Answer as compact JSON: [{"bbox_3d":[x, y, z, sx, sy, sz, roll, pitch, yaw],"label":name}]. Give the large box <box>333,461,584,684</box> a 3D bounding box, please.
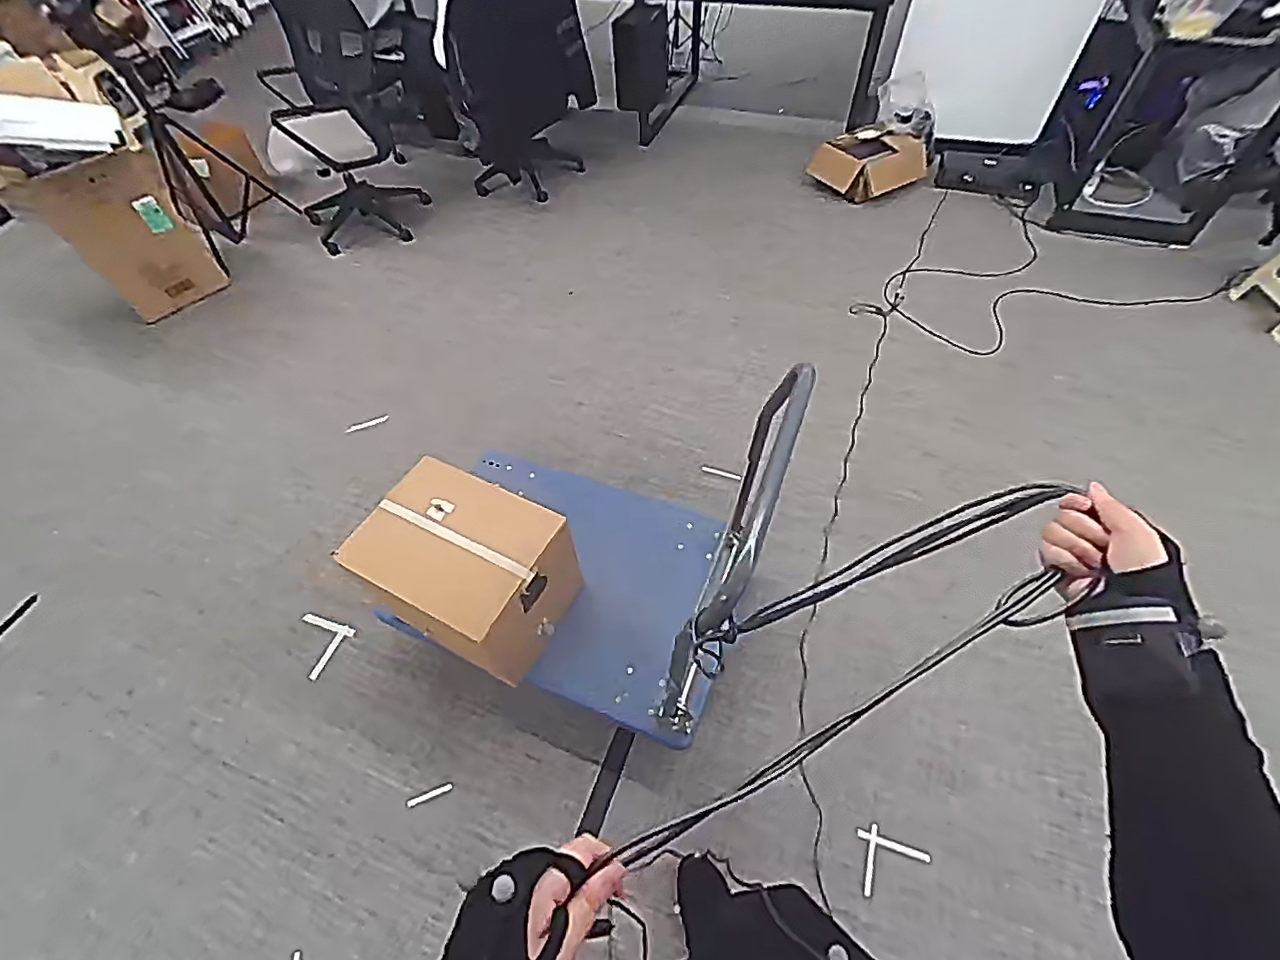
[{"bbox_3d":[-0.393,0.218,1.270,0.408,0.320,0.320,21,57,18],"label":"large box"}]
